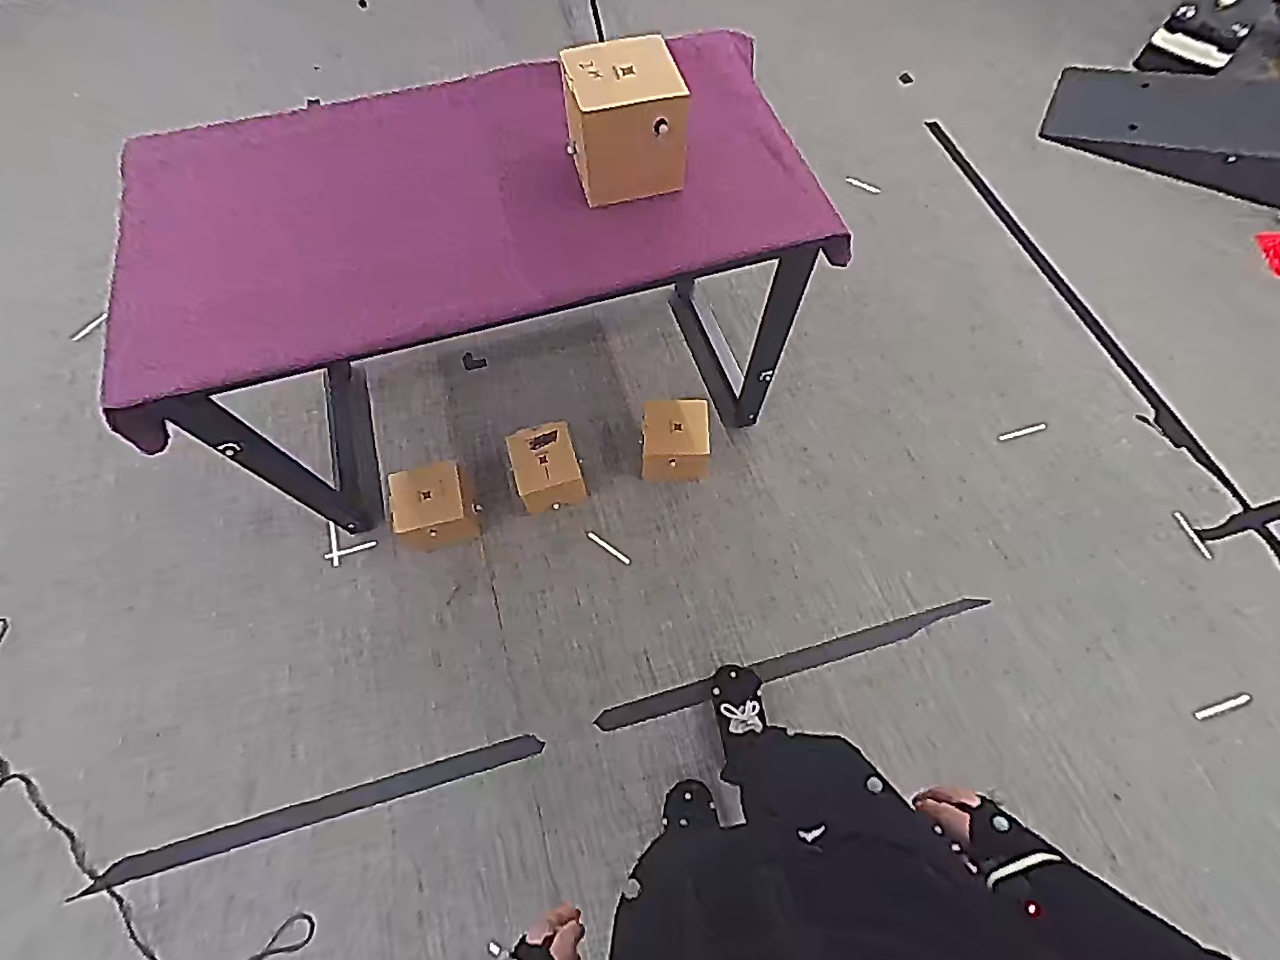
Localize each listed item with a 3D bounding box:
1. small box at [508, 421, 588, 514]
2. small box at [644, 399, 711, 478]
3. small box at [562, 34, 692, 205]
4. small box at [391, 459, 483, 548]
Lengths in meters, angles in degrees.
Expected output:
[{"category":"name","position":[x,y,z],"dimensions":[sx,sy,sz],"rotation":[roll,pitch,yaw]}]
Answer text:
[{"category":"small box","position":[-0.246,-0.030,1.469],"dimensions":[0.168,0.176,0.179],"rotation":[-17,69,-6]},{"category":"small box","position":[0.100,-0.112,1.503],"dimensions":[0.179,0.176,0.168],"rotation":[0,68,2]},{"category":"small box","position":[-0.023,-0.606,0.919],"dimensions":[0.179,0.176,0.168],"rotation":[-14,67,-5]},{"category":"small box","position":[-0.533,0.069,1.431],"dimensions":[0.179,0.176,0.168],"rotation":[-13,68,-6]}]
